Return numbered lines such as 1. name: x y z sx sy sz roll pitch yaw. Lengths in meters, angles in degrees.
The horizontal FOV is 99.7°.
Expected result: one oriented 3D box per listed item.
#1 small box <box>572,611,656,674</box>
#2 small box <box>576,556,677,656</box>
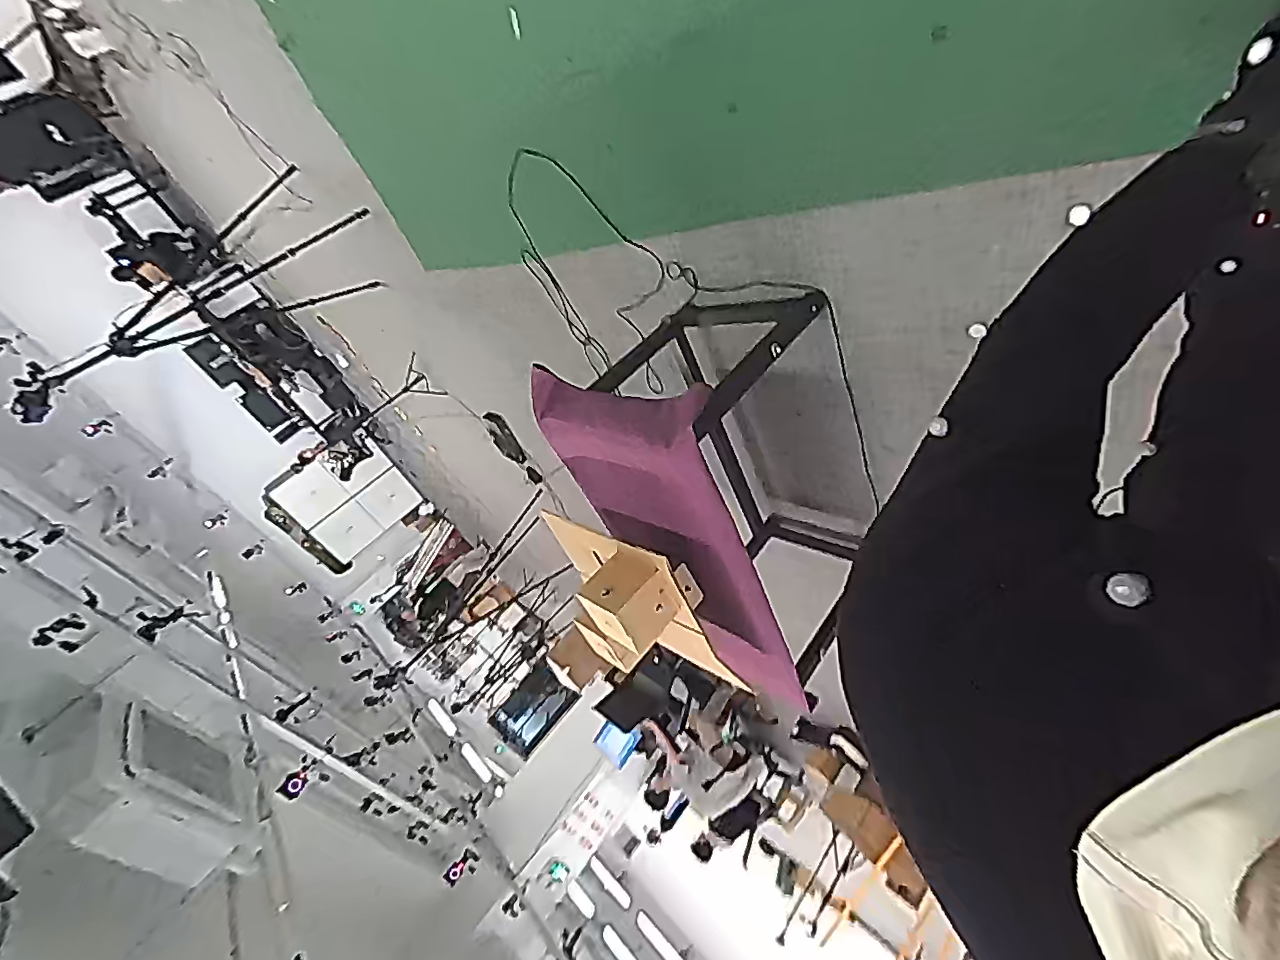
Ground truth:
1. small box: -0.071 0.459 1.679 0.179 0.176 0.168 14 139 49
2. small box: -0.033 0.325 1.437 0.179 0.176 0.168 13 138 48
